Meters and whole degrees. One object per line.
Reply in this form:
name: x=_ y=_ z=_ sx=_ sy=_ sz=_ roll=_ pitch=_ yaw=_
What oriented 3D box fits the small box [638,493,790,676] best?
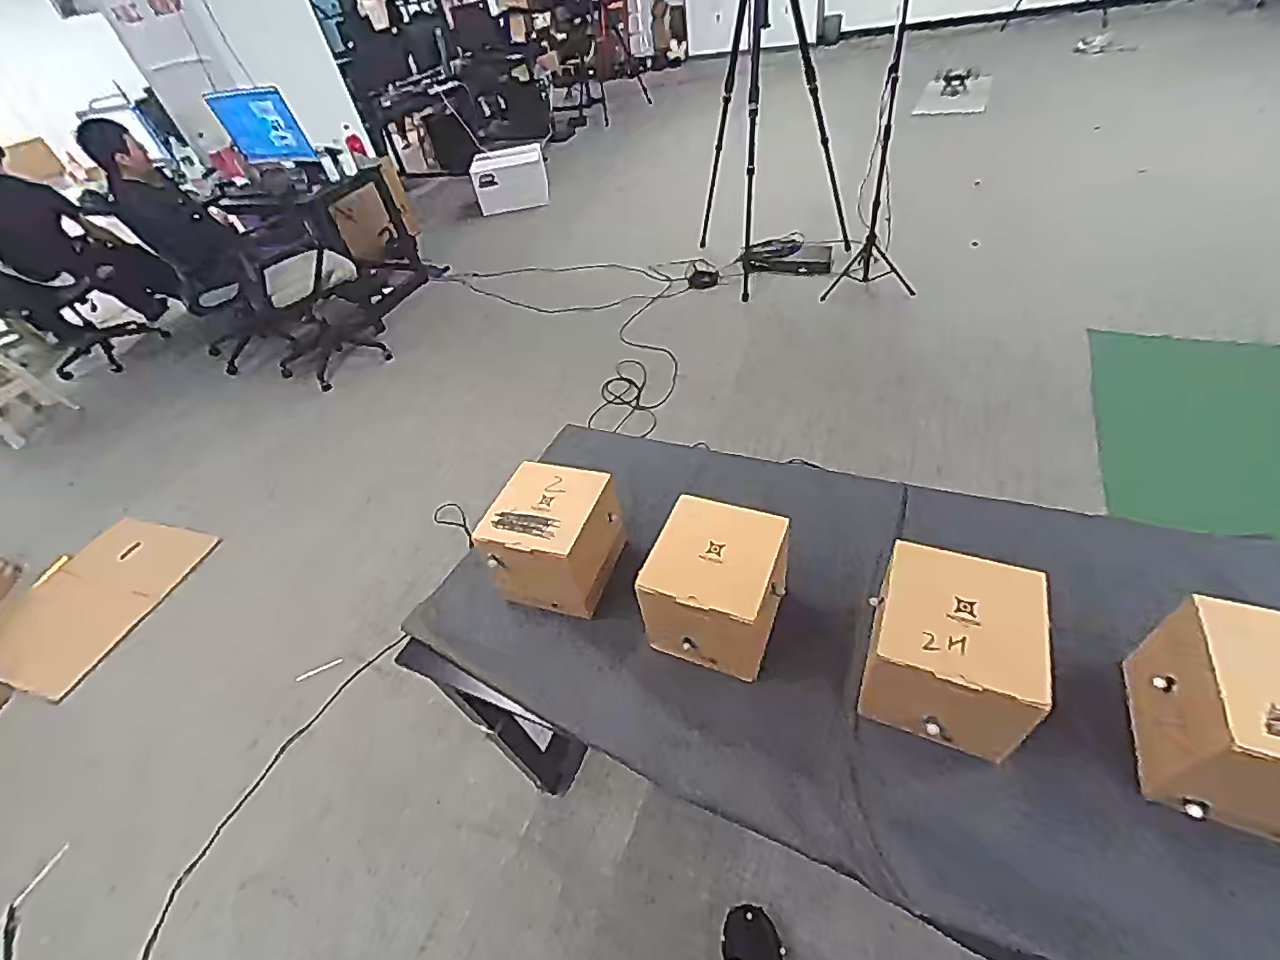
small box: x=0.112 y=0.152 z=0.793 sx=0.168 sy=0.176 sz=0.179 roll=13 pitch=51 yaw=22

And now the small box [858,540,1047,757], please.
small box: x=0.383 y=0.210 z=0.682 sx=0.168 sy=0.176 sz=0.179 roll=13 pitch=50 yaw=23

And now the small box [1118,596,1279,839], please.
small box: x=0.659 y=0.260 z=0.579 sx=0.168 sy=0.176 sz=0.179 roll=12 pitch=49 yaw=22
